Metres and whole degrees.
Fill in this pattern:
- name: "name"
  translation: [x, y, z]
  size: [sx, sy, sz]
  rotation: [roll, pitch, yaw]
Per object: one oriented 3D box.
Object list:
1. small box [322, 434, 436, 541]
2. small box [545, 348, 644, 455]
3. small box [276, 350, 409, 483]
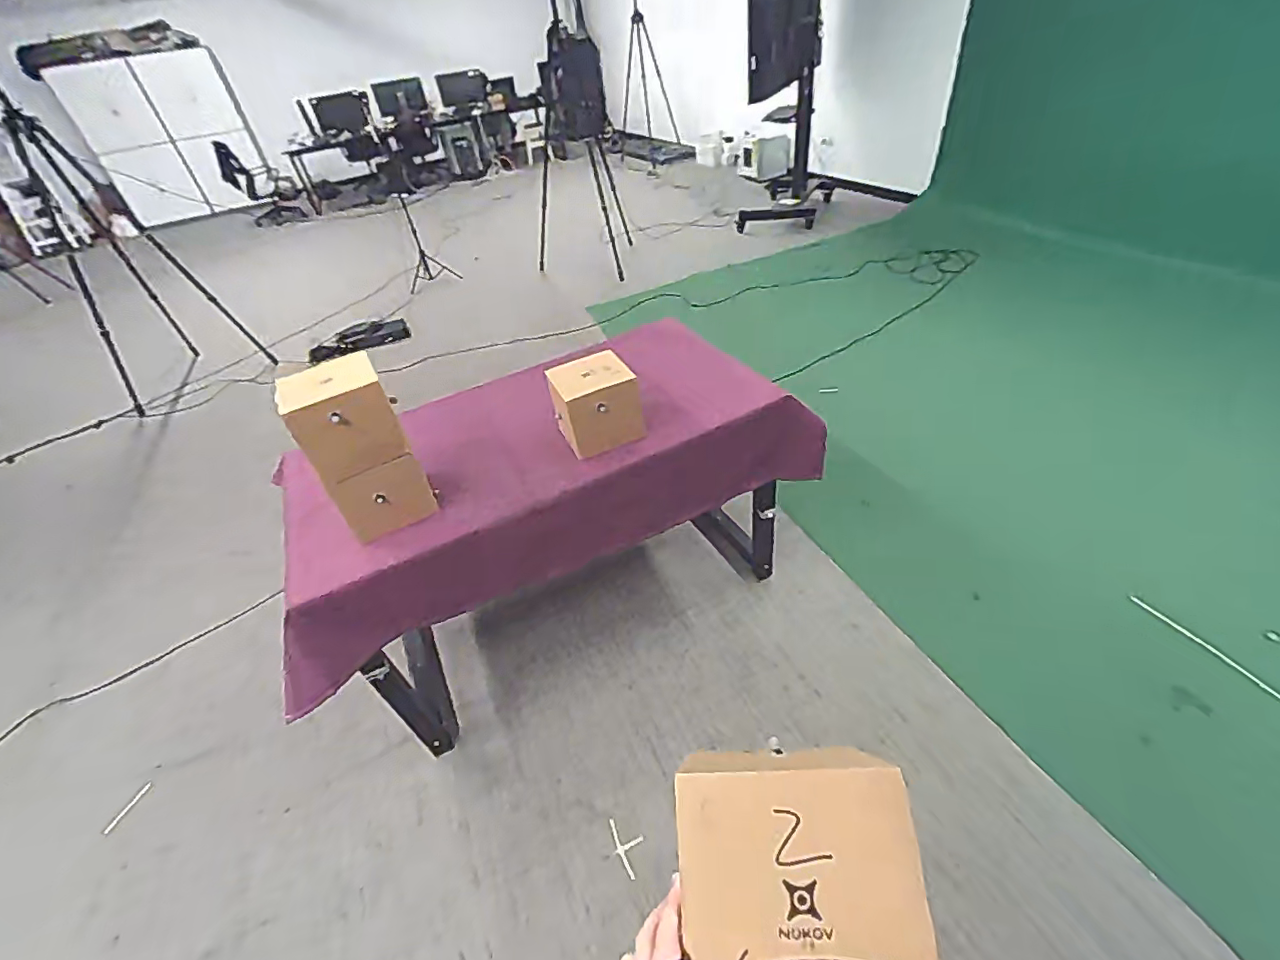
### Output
- name: "small box"
  translation: [-0.561, -0.002, 1.170]
  size: [0.179, 0.176, 0.168]
  rotation: [-26, 43, -17]
- name: "small box"
  translation: [-0.105, -0.186, 1.292]
  size: [0.179, 0.176, 0.168]
  rotation: [-21, 42, -13]
- name: "small box"
  translation: [-0.578, -0.127, 1.066]
  size: [0.179, 0.176, 0.168]
  rotation: [-27, 43, -18]
